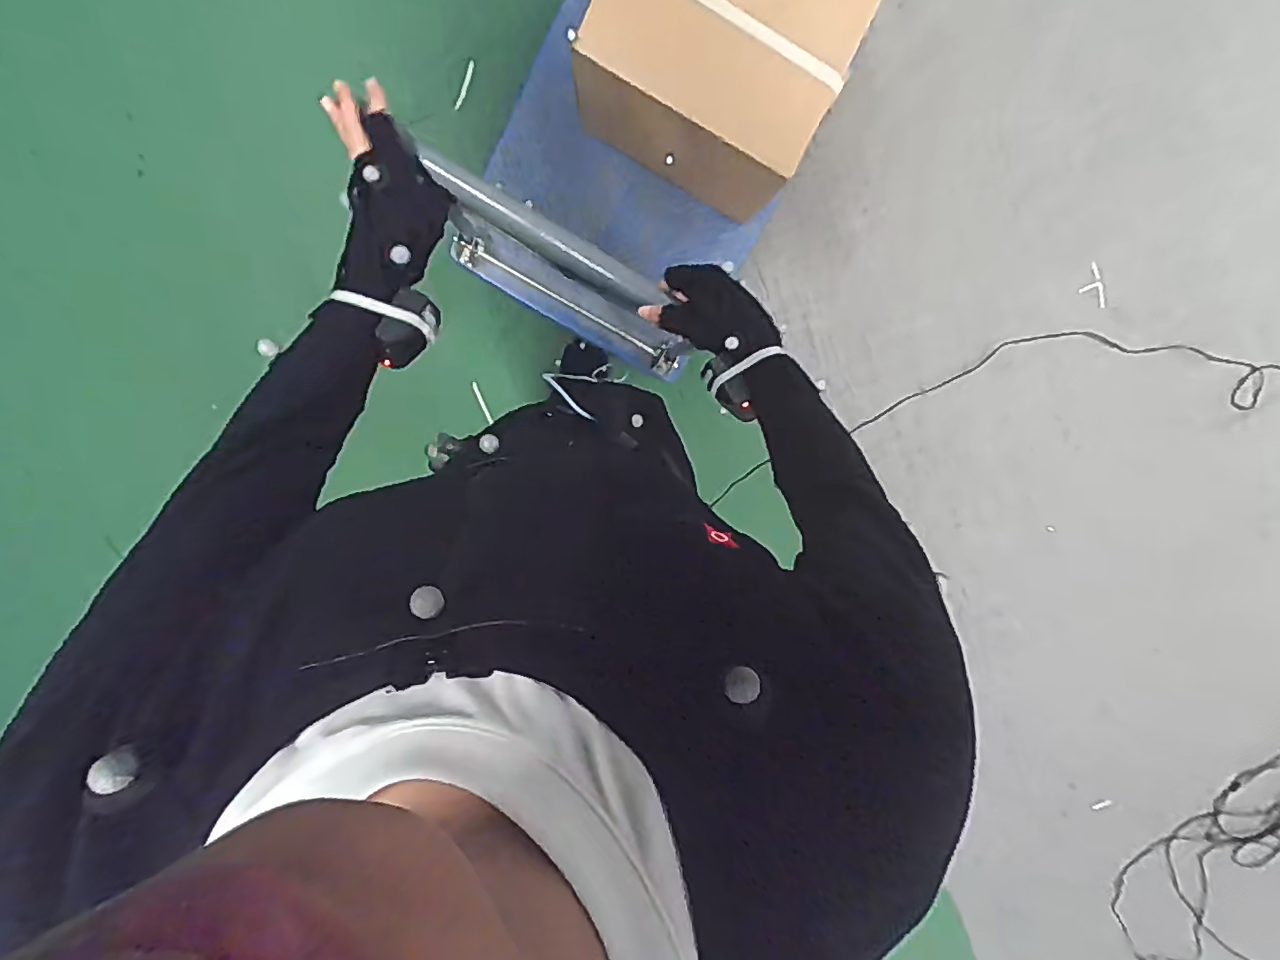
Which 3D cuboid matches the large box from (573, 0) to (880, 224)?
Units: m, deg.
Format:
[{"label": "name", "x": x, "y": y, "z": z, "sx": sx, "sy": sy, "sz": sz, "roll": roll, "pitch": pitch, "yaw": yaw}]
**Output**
[{"label": "large box", "x": 0.133, "y": -0.743, "z": 0.996, "sx": 0.408, "sy": 0.320, "sz": 0.320, "roll": 27, "pitch": 99, "yaw": -8}]
